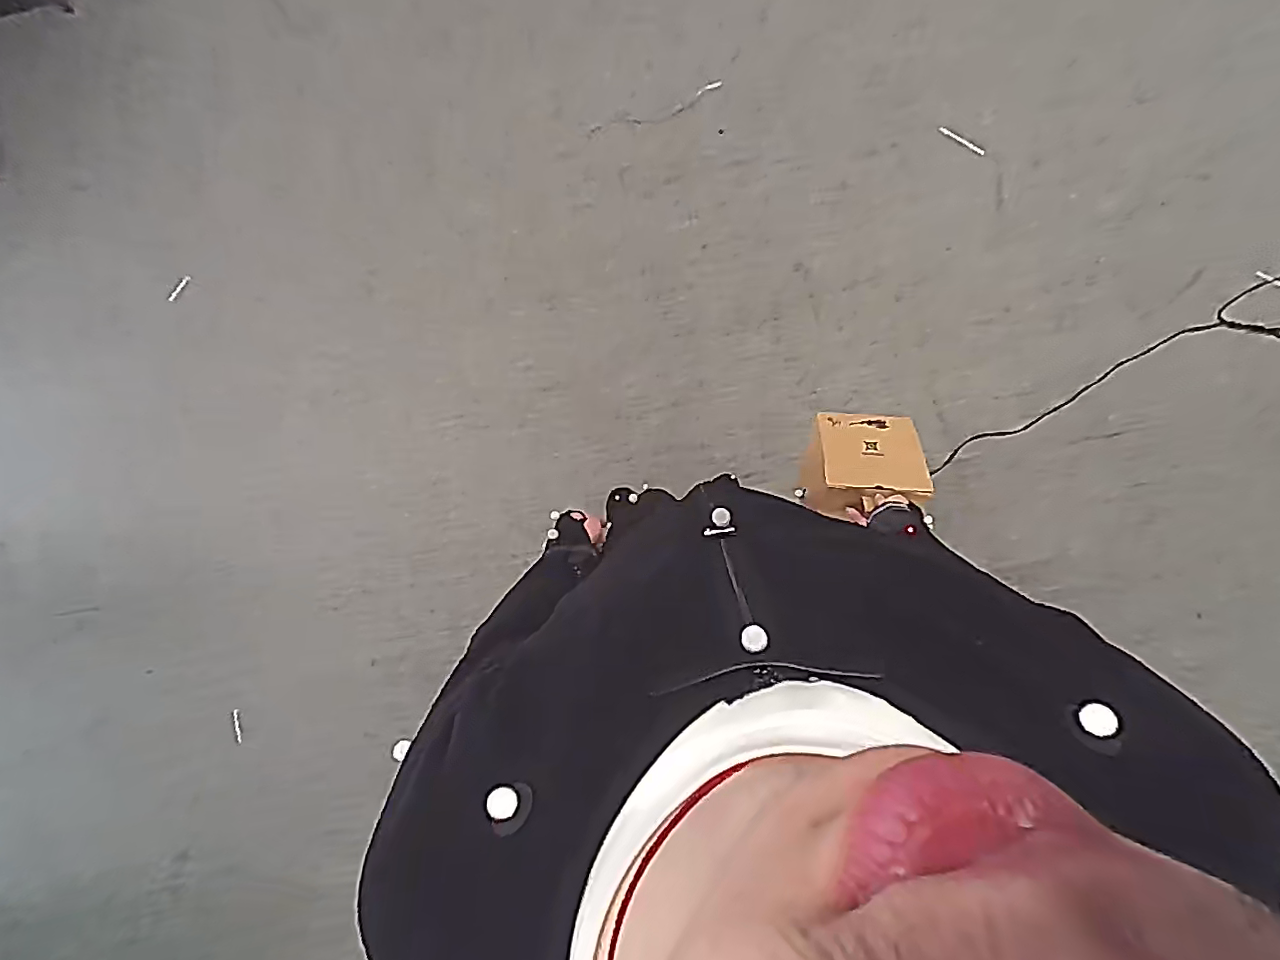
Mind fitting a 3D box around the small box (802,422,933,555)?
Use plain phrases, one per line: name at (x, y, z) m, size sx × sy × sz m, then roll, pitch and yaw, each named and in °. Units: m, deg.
small box at (0.389, 0.016, 0.960) m, size 0.168 × 0.176 × 0.179 m, roll 2°, pitch 48°, yaw 6°
